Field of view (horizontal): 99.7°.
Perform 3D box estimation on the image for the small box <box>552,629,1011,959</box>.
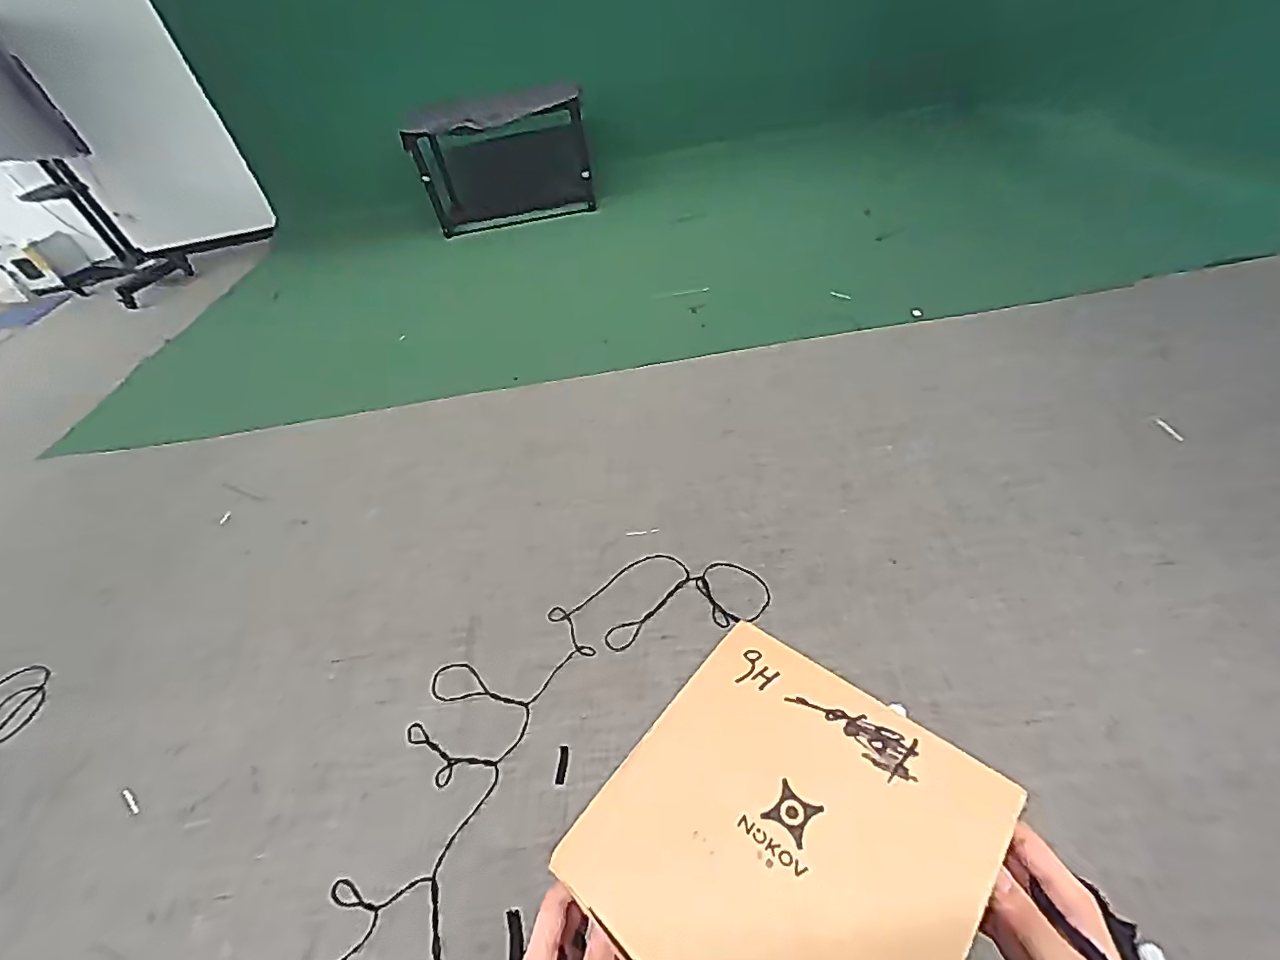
[{"bbox_3d":[0.082,0.235,0.325,0.168,0.176,0.179,26,56,35],"label":"small box"}]
